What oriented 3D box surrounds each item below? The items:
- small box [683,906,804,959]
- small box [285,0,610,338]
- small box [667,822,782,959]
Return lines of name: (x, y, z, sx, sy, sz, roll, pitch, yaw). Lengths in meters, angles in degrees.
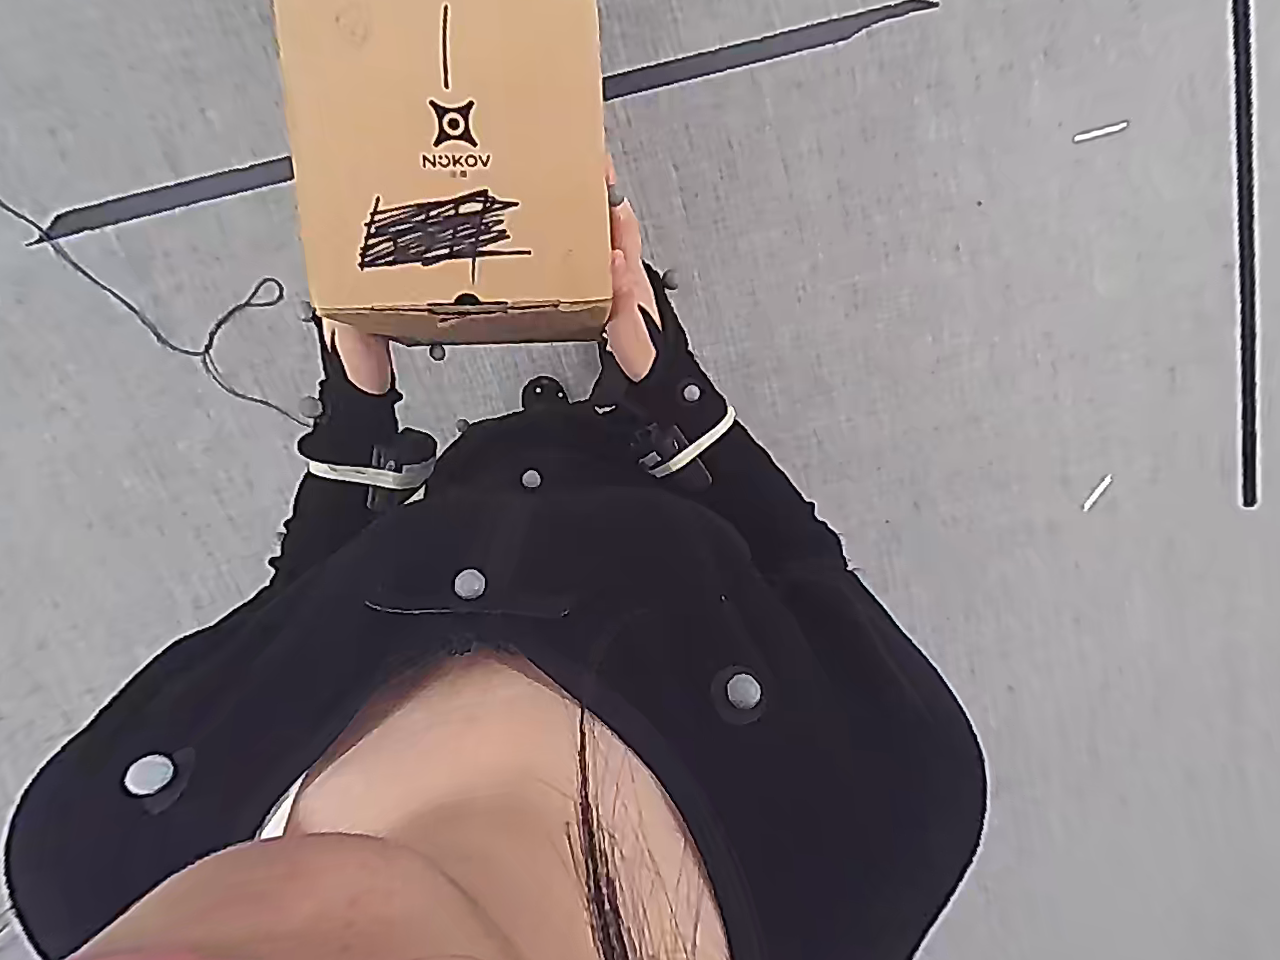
small box: (0.168, 0.784, 0.794, 0.179, 0.176, 0.168, -13, 102, -4)
small box: (-0.108, -0.195, 0.373, 0.168, 0.176, 0.179, -3, 97, -7)
small box: (0.149, 0.751, 0.951, 0.179, 0.176, 0.168, -14, 103, -4)
